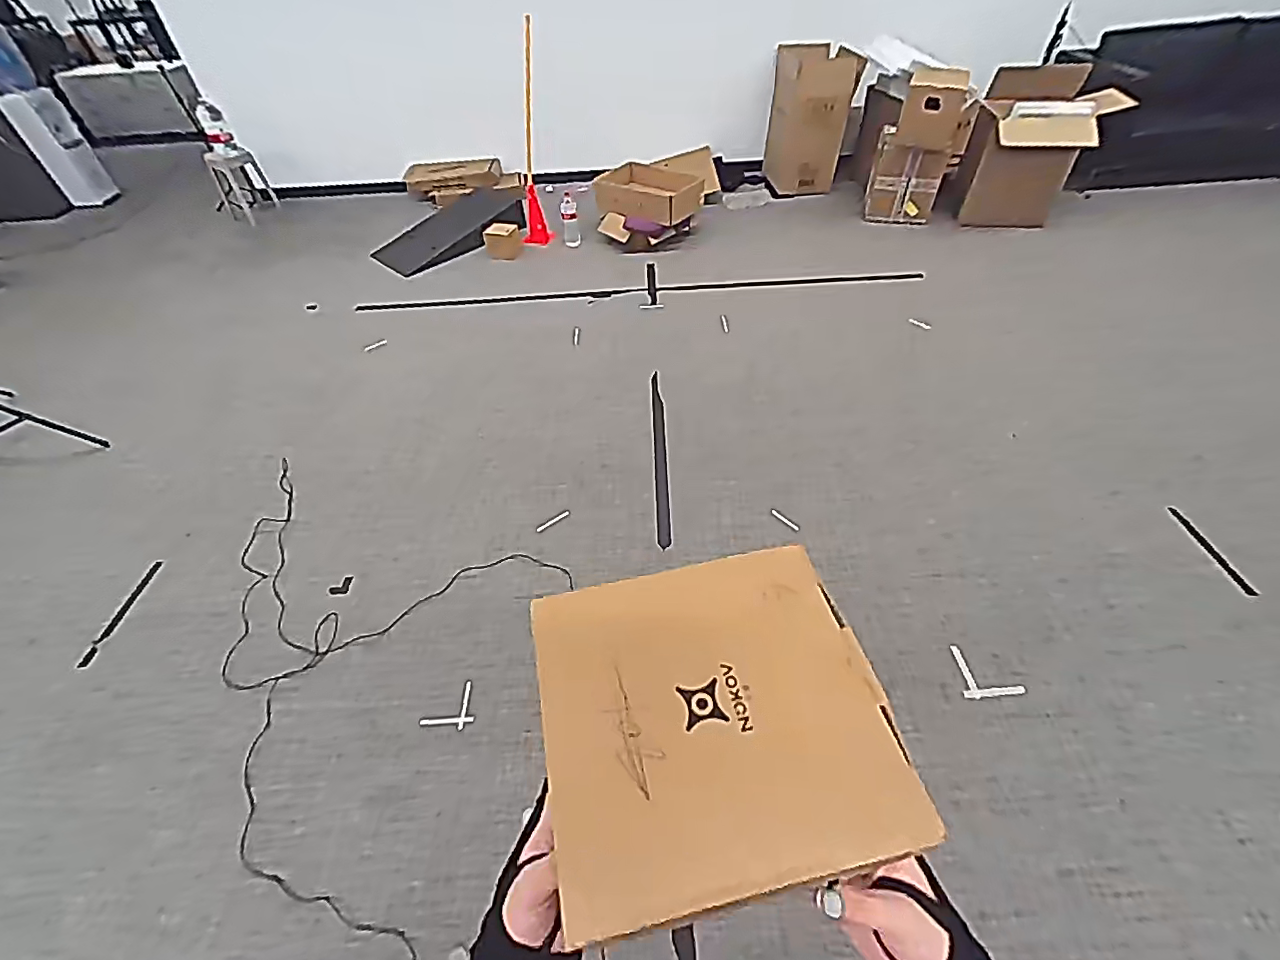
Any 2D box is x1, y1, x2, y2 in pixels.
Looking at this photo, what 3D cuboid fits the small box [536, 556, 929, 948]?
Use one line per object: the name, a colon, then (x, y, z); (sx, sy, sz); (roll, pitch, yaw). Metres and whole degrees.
small box: (0.039, 0.177, 0.354); (0.179, 0.176, 0.168); (-12, 49, -6)
